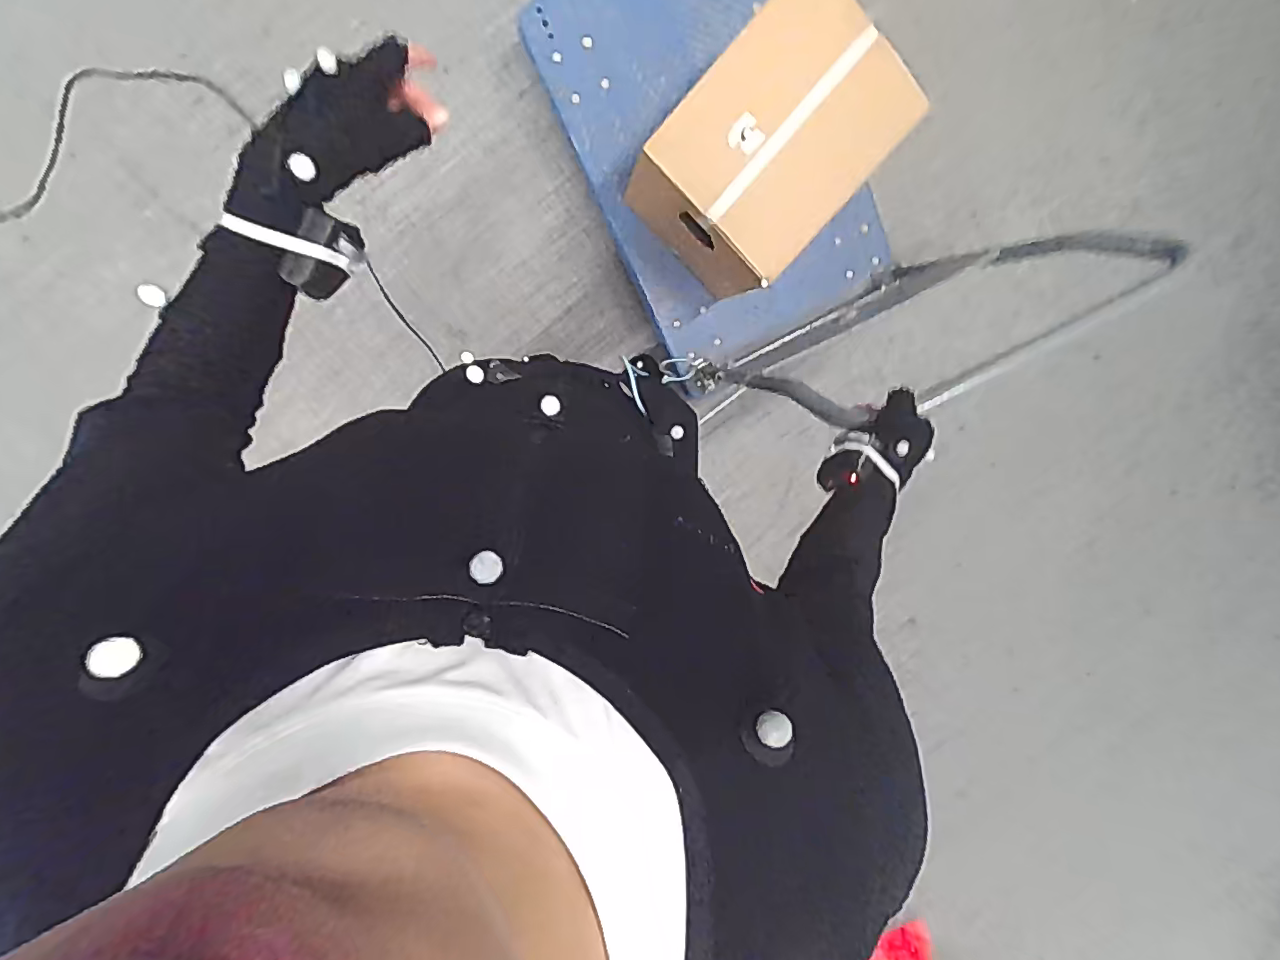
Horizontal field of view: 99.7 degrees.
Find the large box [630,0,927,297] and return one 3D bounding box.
[{"bbox_3d":[0.235,-0.621,1.047,0.320,0.320,0.408,42,96,-15],"label":"large box"}]
